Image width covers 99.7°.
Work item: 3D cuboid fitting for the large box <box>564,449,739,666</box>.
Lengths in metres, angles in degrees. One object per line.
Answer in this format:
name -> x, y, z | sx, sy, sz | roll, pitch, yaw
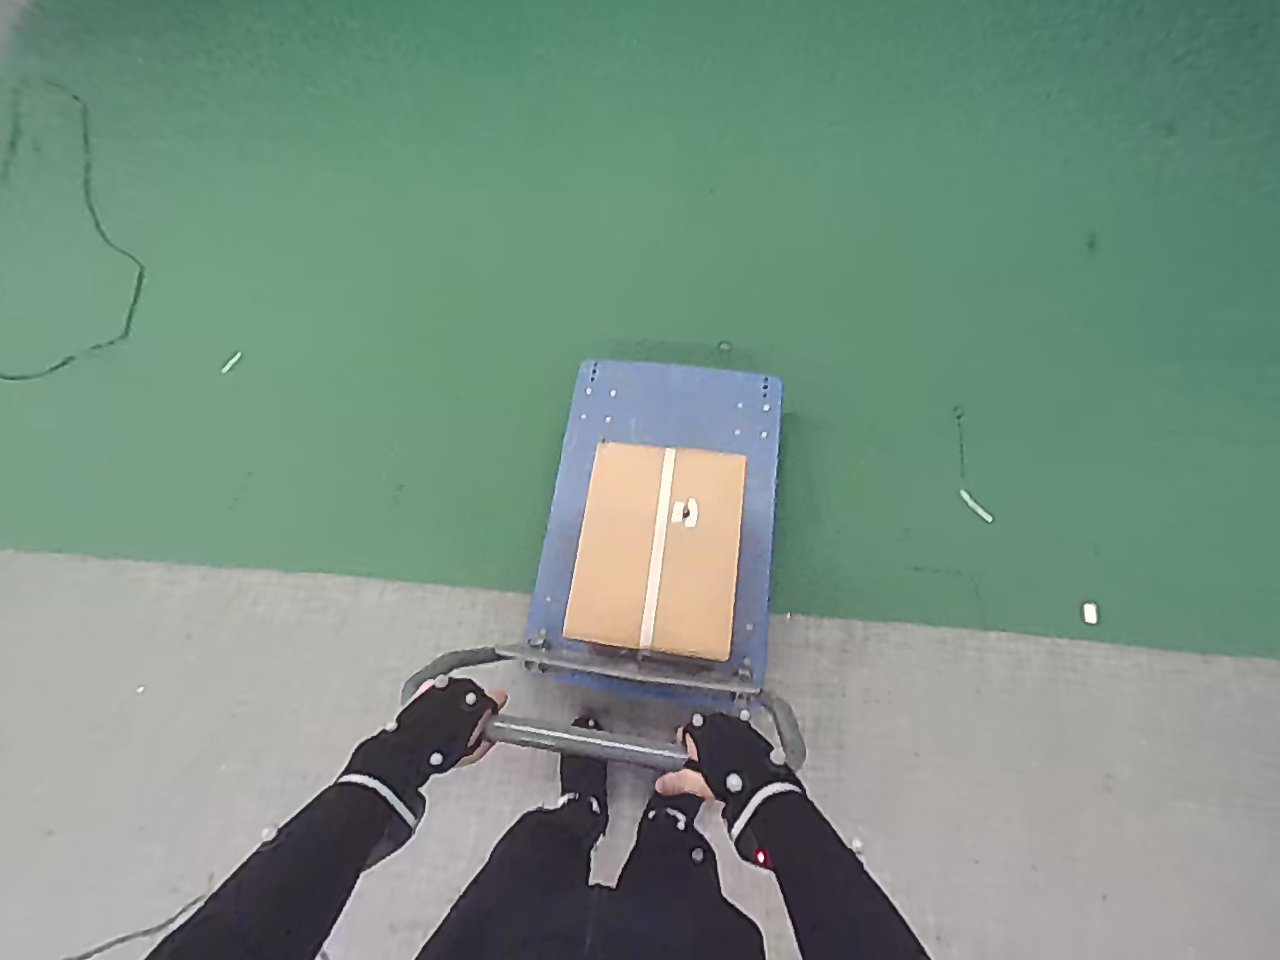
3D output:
large box -> 0.040, 0.186, 1.202 | 0.320, 0.320, 0.408 | 6, 70, 6
